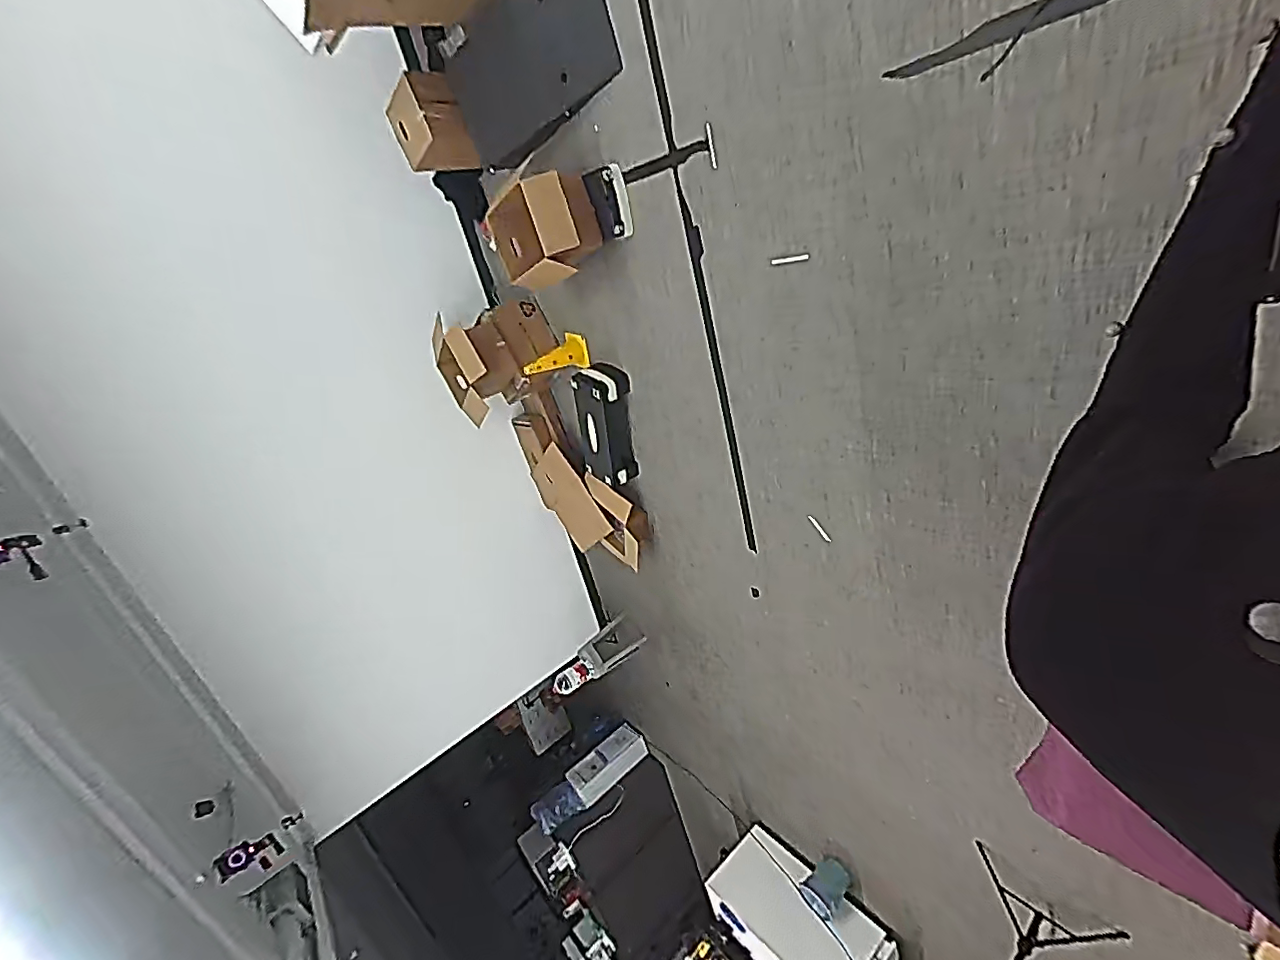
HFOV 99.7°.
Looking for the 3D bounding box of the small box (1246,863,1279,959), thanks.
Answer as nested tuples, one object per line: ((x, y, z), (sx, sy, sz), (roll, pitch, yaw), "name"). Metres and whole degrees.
((0.975, 0.685, 0.737), (0.179, 0.176, 0.168), (17, 126, 49), "small box")
